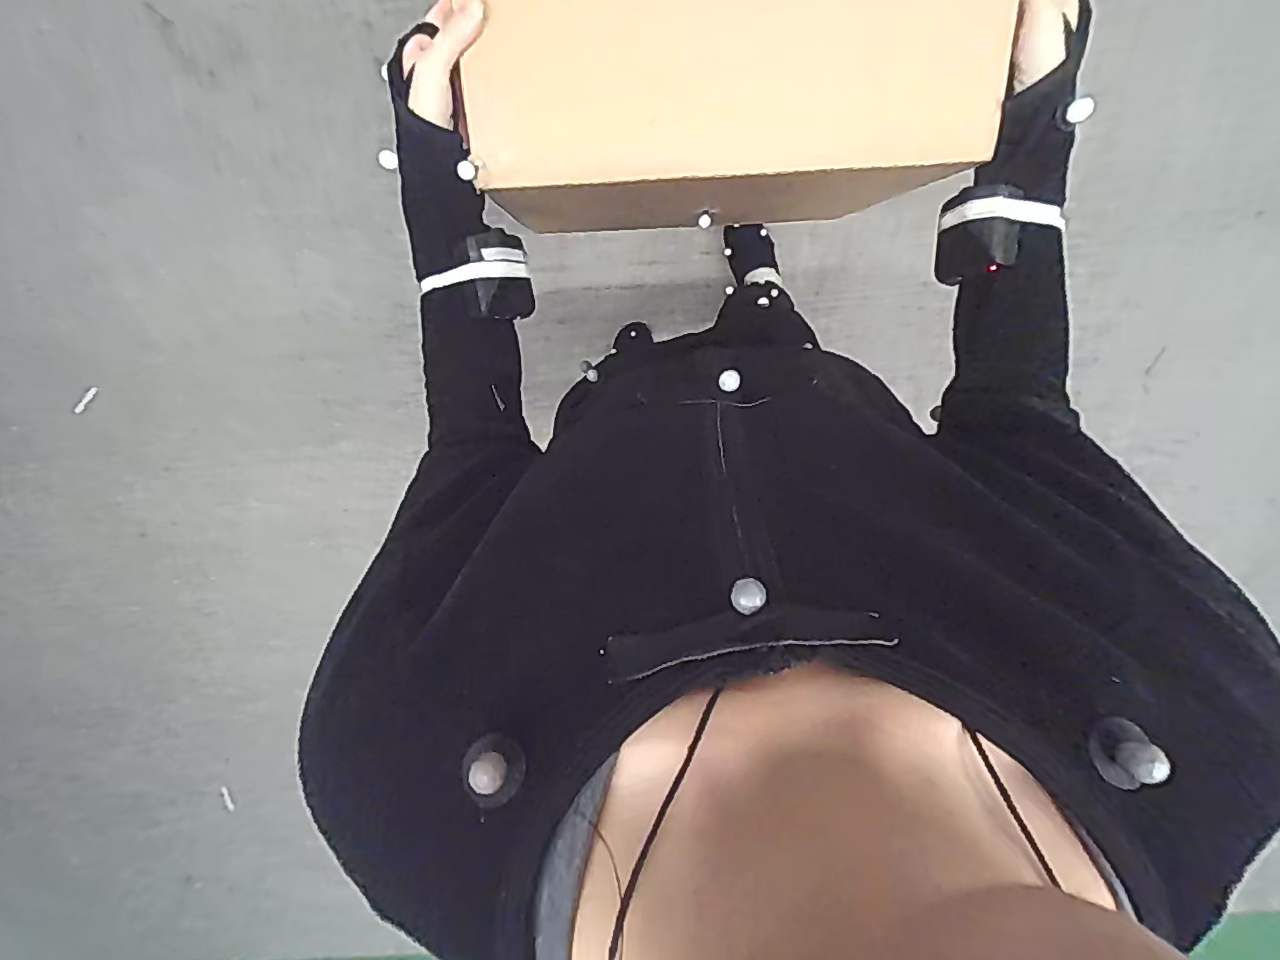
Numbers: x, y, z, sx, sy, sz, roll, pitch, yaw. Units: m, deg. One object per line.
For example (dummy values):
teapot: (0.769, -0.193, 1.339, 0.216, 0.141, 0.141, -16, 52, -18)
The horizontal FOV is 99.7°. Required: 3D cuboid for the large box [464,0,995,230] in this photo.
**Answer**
large box: (0.063, -0.439, 0.527, 0.408, 0.320, 0.320, -4, 108, -1)
